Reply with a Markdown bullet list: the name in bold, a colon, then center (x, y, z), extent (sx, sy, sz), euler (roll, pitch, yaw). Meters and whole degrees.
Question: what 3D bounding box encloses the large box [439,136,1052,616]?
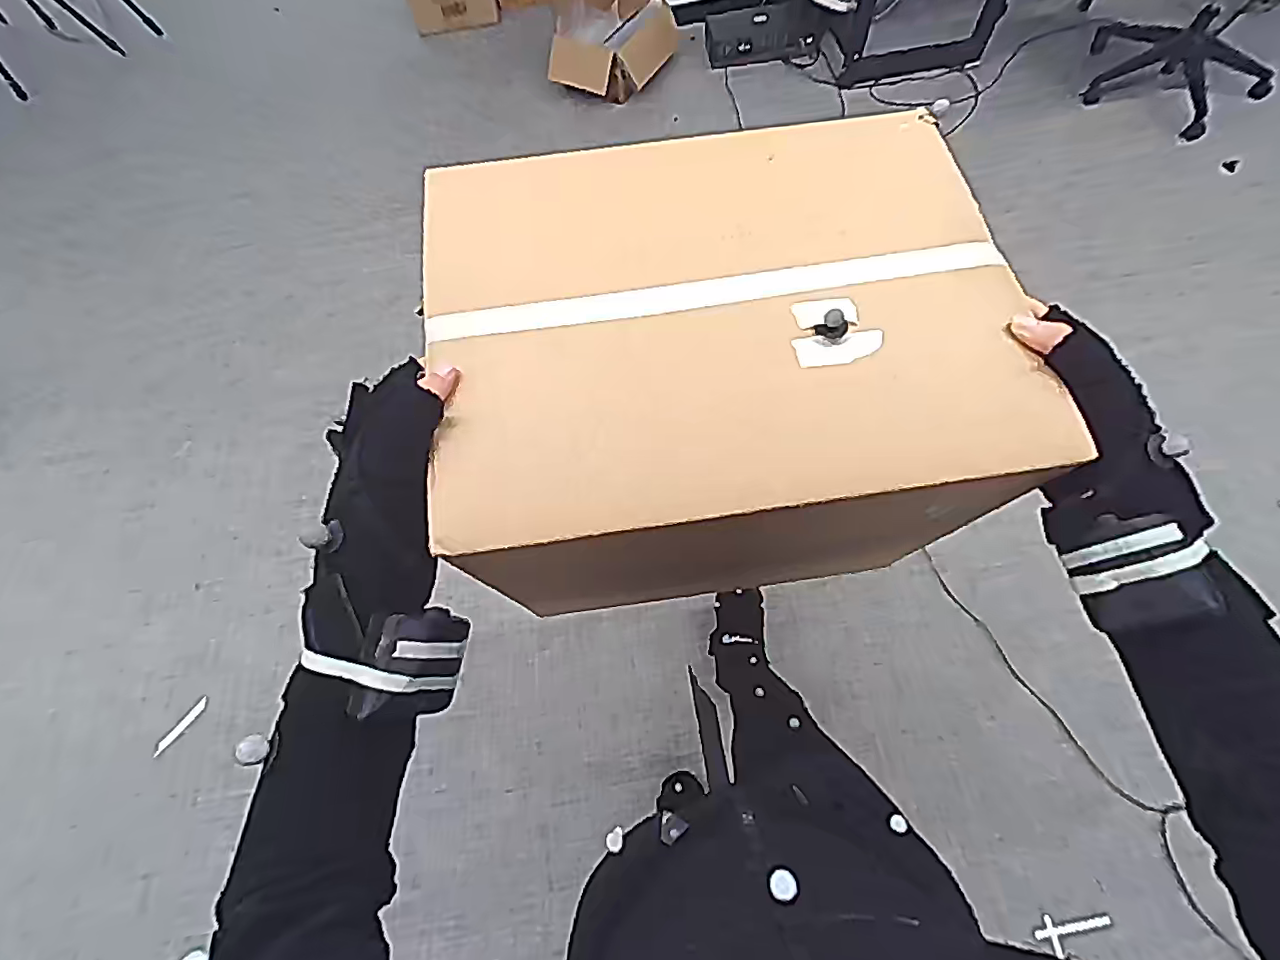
- **large box**: center (0.054, -0.070, 0.537), extent (0.408, 0.320, 0.320), euler (-9, 69, -2)
